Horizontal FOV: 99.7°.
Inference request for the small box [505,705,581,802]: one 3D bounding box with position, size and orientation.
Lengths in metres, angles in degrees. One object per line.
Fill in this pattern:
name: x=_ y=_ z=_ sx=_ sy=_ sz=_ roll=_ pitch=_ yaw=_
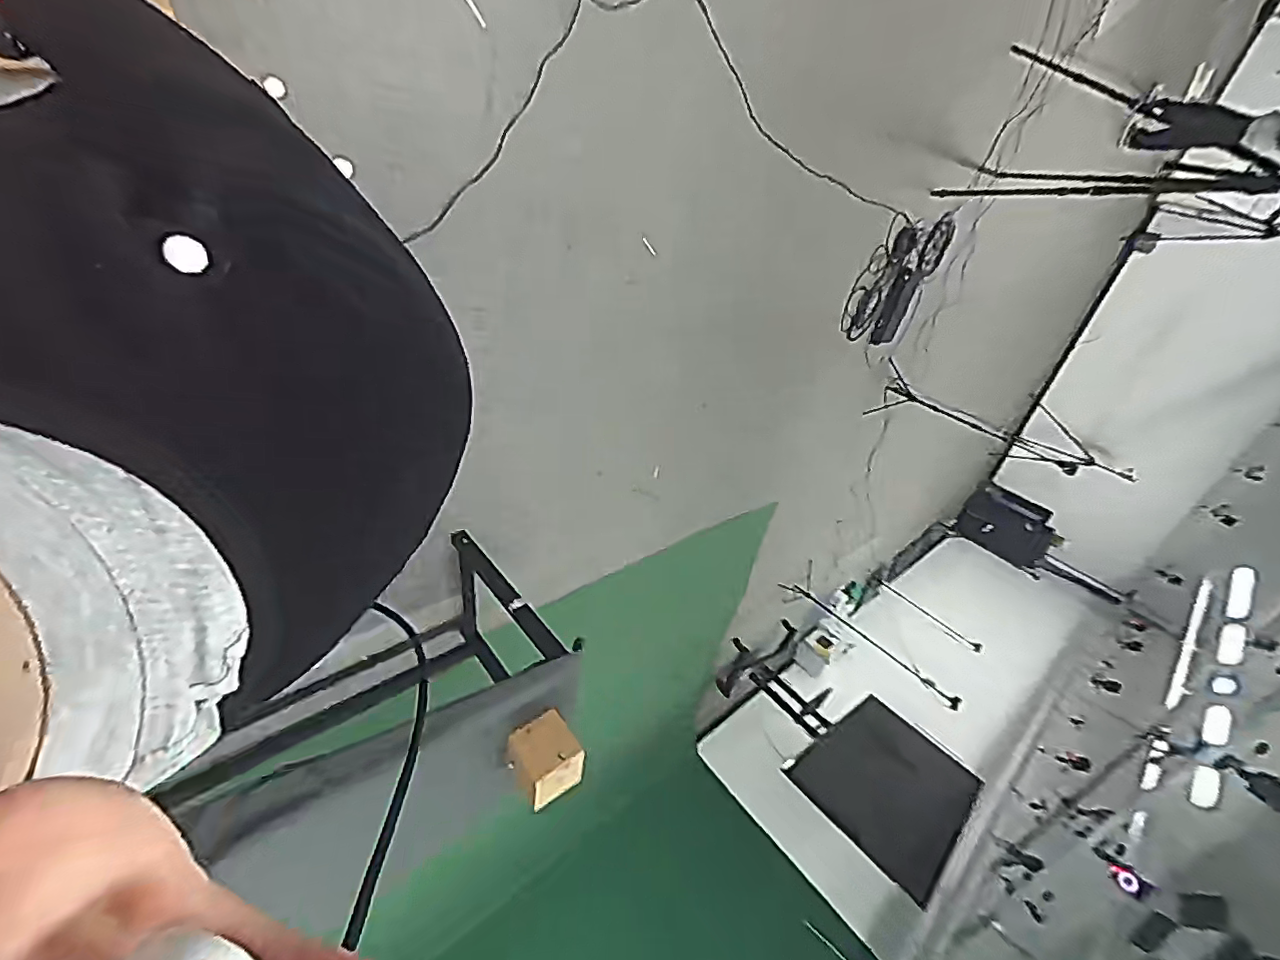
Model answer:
small box: x=-0.302 y=0.837 z=1.667 sx=0.168 sy=0.176 sz=0.179 roll=-22 pitch=137 yaw=-37
